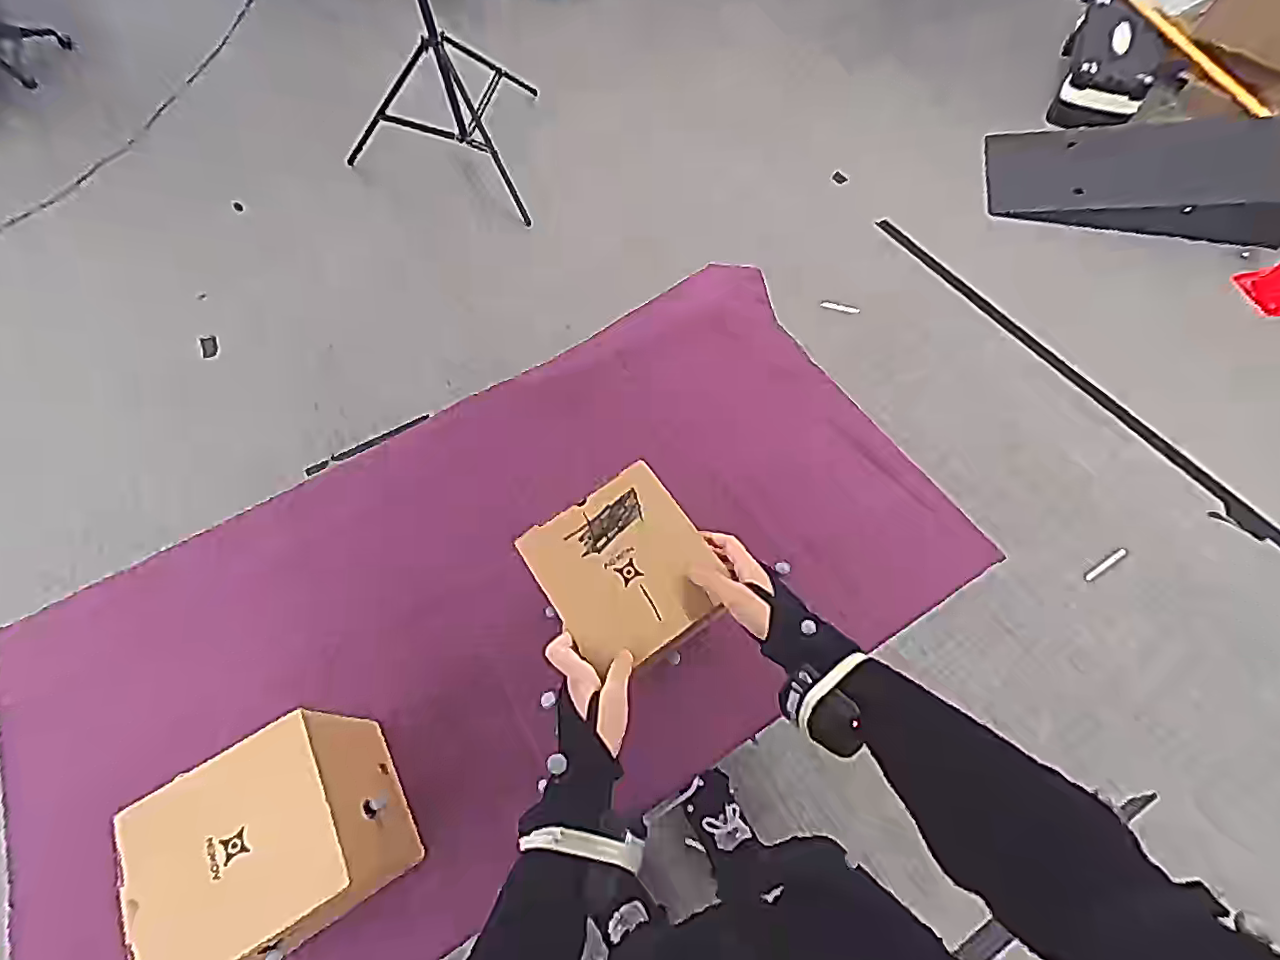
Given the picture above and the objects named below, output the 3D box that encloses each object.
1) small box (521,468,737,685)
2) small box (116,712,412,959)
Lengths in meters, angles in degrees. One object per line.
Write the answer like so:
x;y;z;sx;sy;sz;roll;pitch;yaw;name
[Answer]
-0.013;0.122;0.634;0.168;0.176;0.179;-33;71;-11;small box
-0.357;0.360;0.547;0.179;0.176;0.168;-30;65;-12;small box
